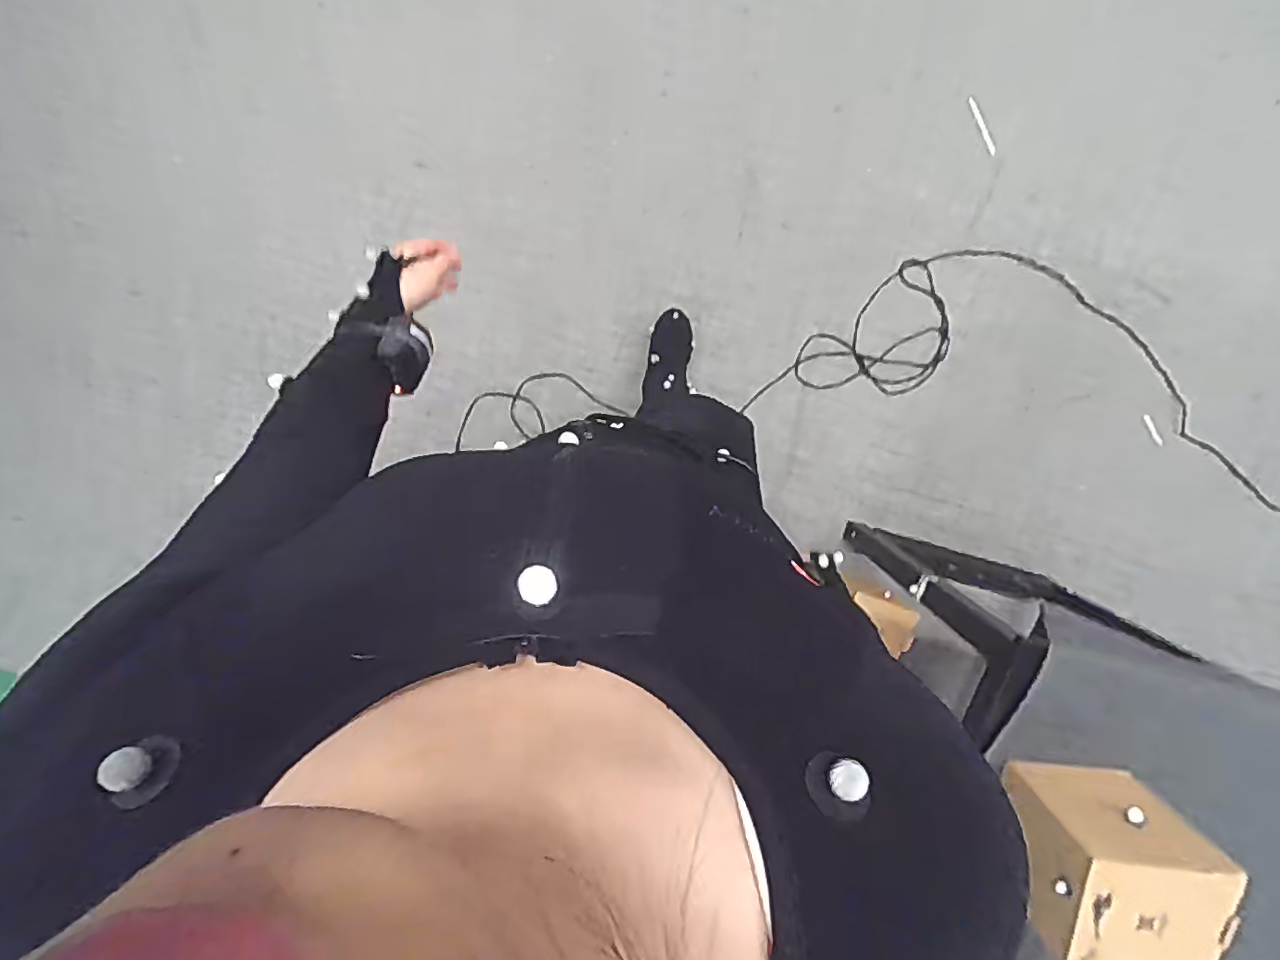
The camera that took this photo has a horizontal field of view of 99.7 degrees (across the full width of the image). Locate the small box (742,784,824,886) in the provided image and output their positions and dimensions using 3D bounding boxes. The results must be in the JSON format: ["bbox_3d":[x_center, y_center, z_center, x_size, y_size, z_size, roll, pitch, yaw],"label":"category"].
[{"bbox_3d":[0.403,1.015,1.561,0.179,0.176,0.168,12,101,-1],"label":"small box"}]

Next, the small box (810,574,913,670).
[{"bbox_3d":[0.579,0.369,1.442,0.179,0.176,0.168,21,100,-3],"label":"small box"}]

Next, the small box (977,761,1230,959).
[{"bbox_3d":[0.598,0.507,0.723,0.179,0.176,0.168,4,101,1],"label":"small box"}]
